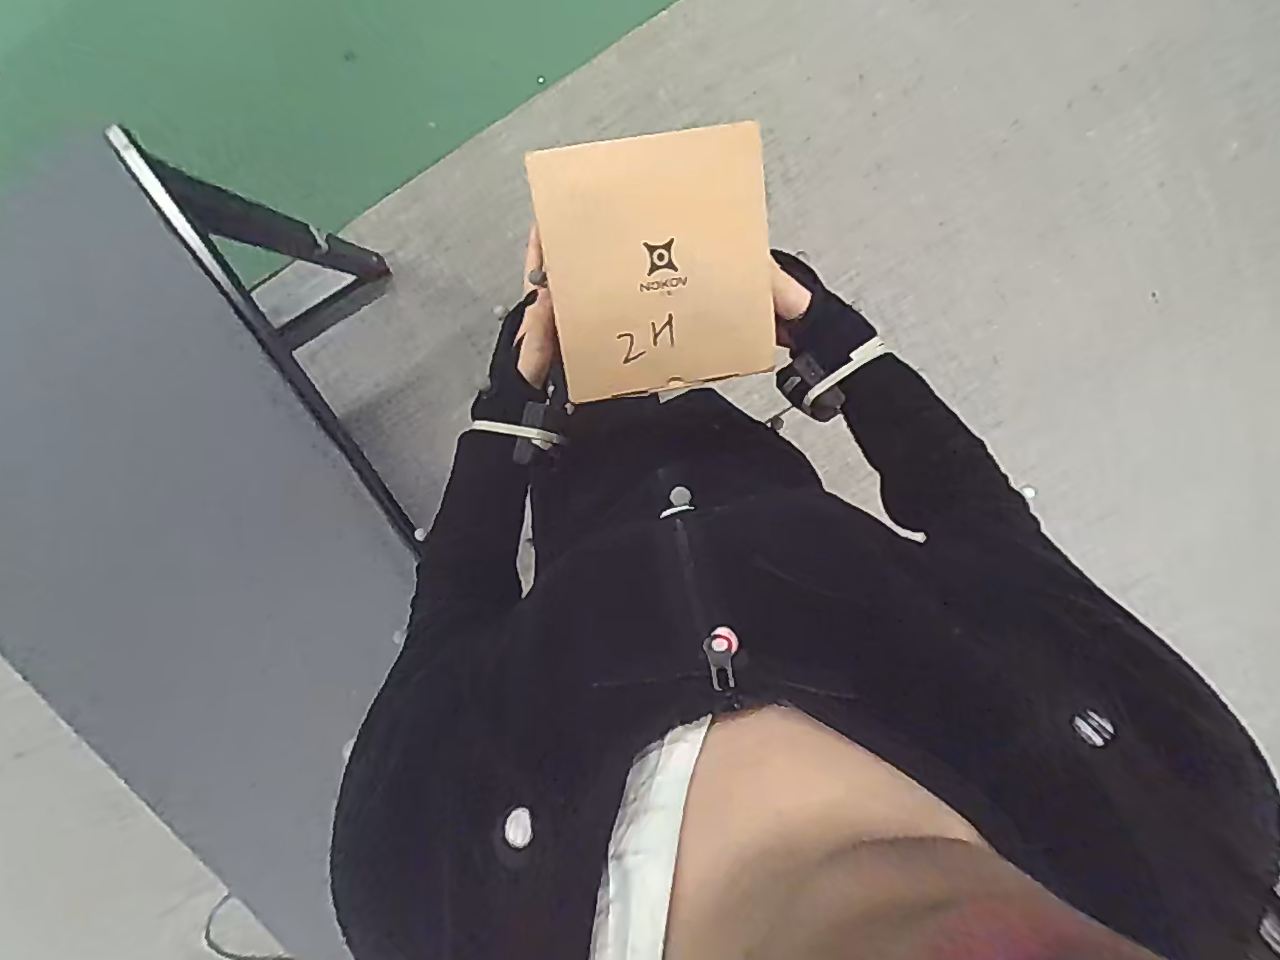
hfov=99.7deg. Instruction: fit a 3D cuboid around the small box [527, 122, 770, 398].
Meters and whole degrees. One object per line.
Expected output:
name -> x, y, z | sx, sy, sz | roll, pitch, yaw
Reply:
small box -> 0.003, -0.179, 0.474 | 0.168, 0.176, 0.179 | -10, 108, -3
